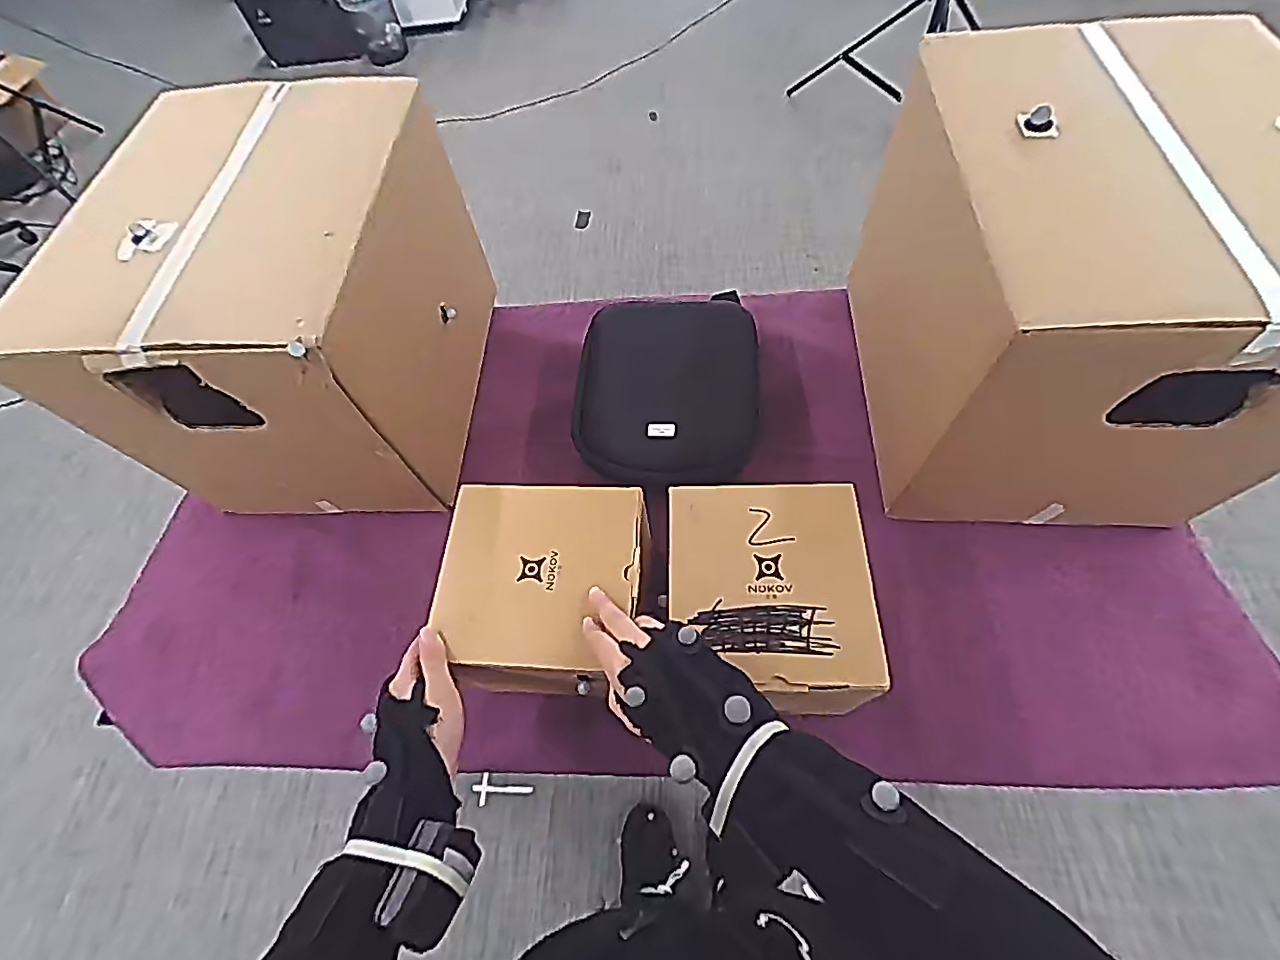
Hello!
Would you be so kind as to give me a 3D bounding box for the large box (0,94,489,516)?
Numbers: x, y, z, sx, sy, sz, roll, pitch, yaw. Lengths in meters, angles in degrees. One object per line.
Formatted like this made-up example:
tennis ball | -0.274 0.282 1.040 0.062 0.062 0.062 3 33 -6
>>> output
large box | -0.398 -0.198 0.672 0.320 0.320 0.408 -2 63 4
